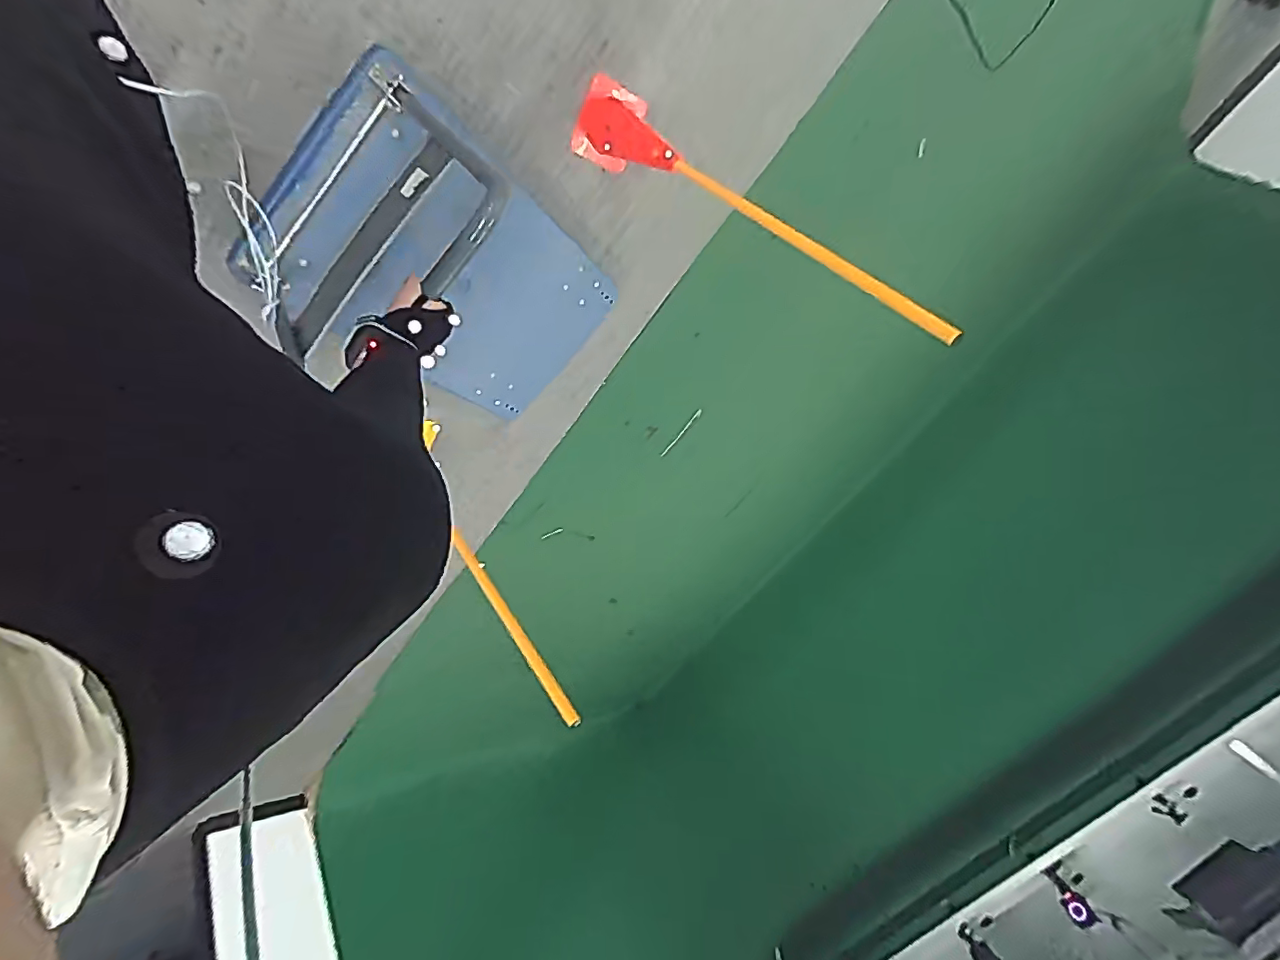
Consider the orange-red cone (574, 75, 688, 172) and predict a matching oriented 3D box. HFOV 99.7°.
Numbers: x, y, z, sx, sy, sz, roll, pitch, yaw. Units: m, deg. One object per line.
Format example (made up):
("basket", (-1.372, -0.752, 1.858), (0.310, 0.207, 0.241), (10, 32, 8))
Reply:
("orange-red cone", (0.011, -0.903, 1.448), (0.198, 0.360, 0.199), (0, 129, -44))
